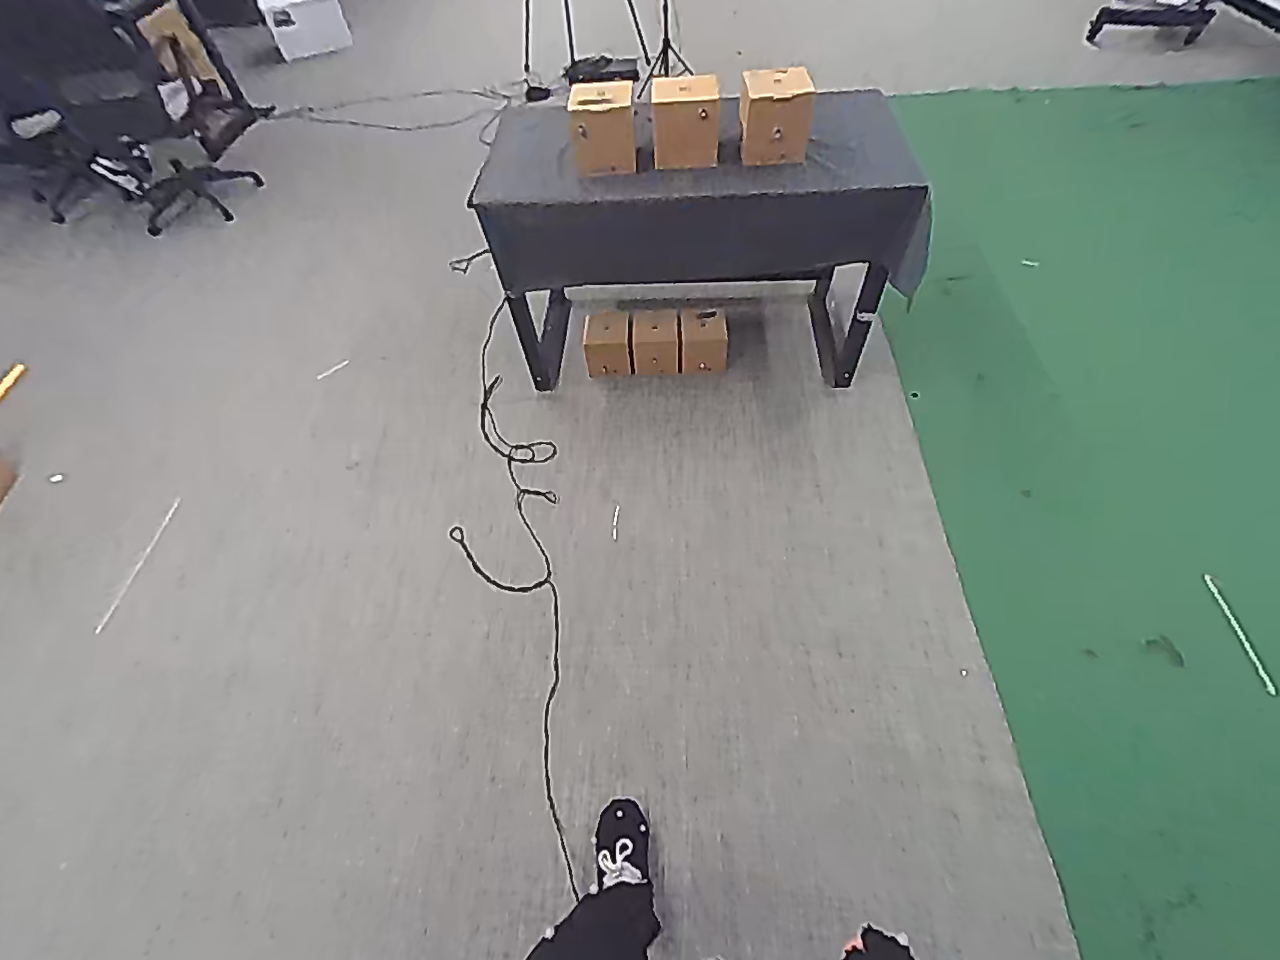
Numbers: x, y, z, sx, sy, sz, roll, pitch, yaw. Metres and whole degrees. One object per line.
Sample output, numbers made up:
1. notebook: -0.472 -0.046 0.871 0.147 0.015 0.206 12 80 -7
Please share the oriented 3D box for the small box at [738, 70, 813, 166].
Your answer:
1. small box: 0.360 -0.973 1.465 0.168 0.176 0.179 -1 55 3
